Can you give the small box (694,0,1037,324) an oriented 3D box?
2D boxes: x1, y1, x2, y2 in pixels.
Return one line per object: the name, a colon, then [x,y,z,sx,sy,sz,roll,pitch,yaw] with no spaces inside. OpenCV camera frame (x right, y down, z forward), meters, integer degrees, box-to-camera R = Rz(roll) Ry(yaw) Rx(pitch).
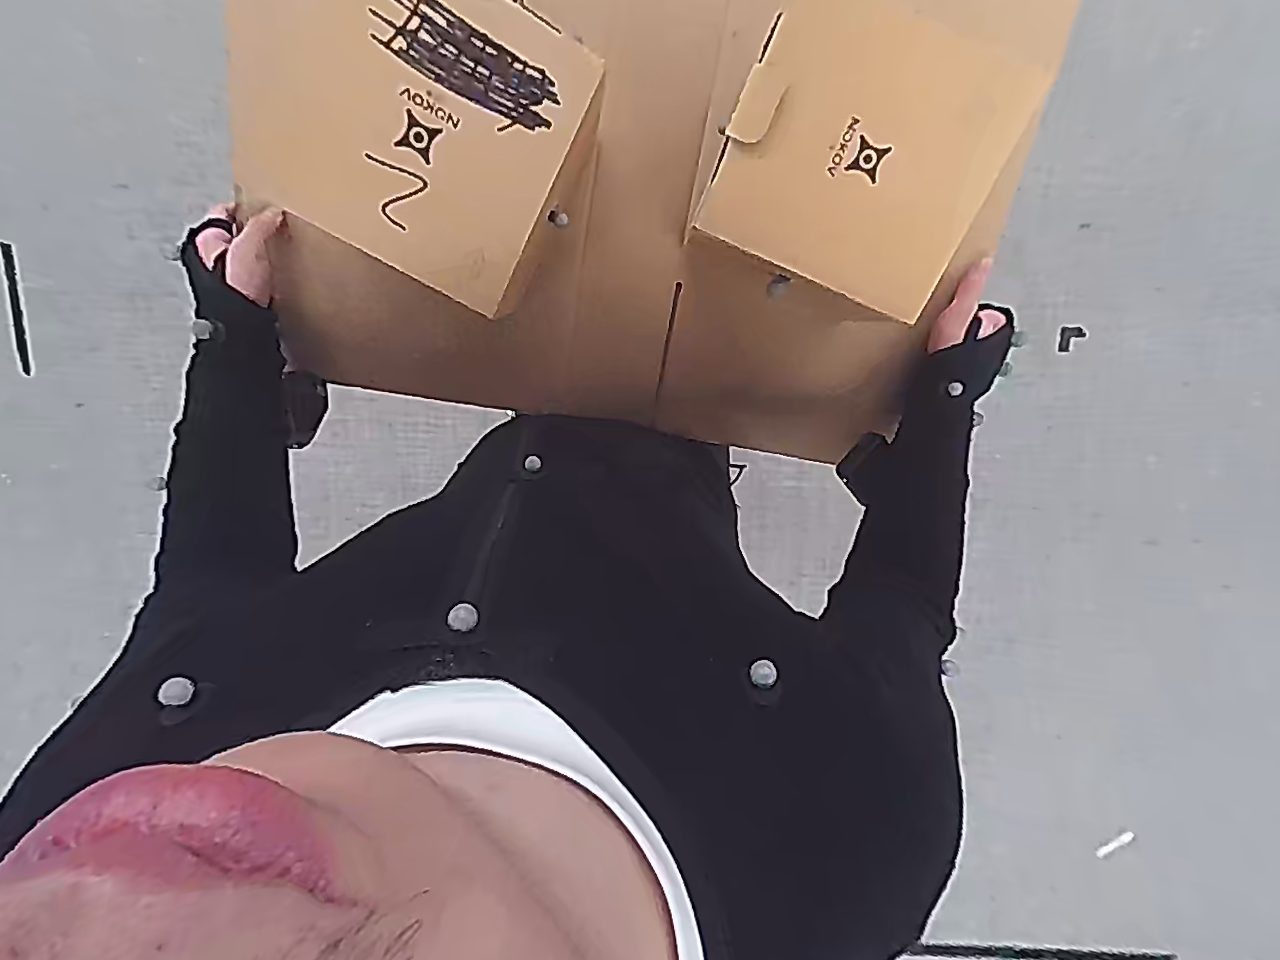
small box: [0.156,-0.244,0.447,0.179,0.176,0.168,23,108,-3]
